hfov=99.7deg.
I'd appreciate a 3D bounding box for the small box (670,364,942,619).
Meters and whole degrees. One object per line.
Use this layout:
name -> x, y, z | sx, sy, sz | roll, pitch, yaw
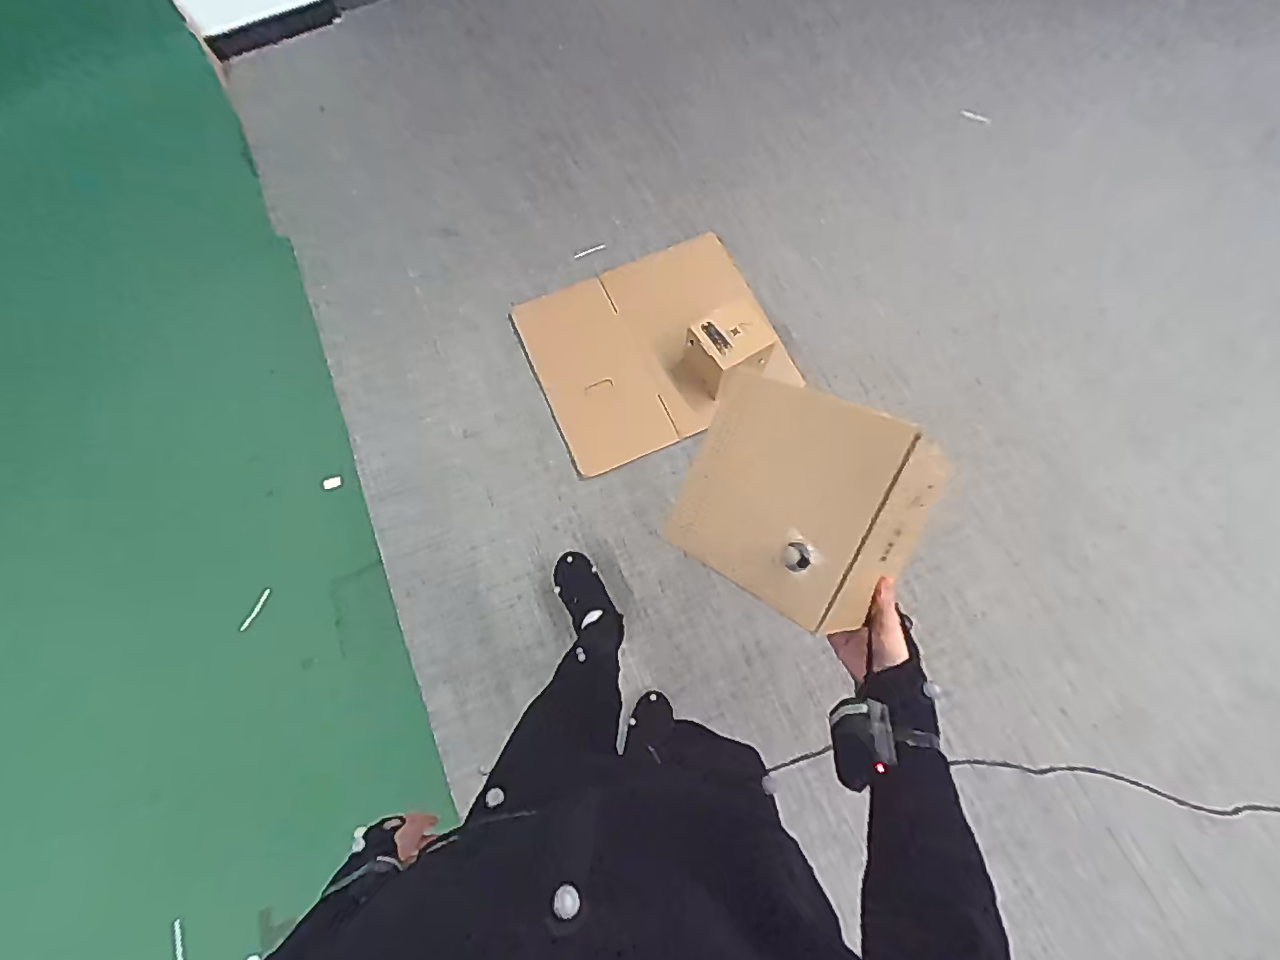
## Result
small box -> 0.153, 0.013, 0.516 | 0.176, 0.168, 0.179 | 28, 96, 37
